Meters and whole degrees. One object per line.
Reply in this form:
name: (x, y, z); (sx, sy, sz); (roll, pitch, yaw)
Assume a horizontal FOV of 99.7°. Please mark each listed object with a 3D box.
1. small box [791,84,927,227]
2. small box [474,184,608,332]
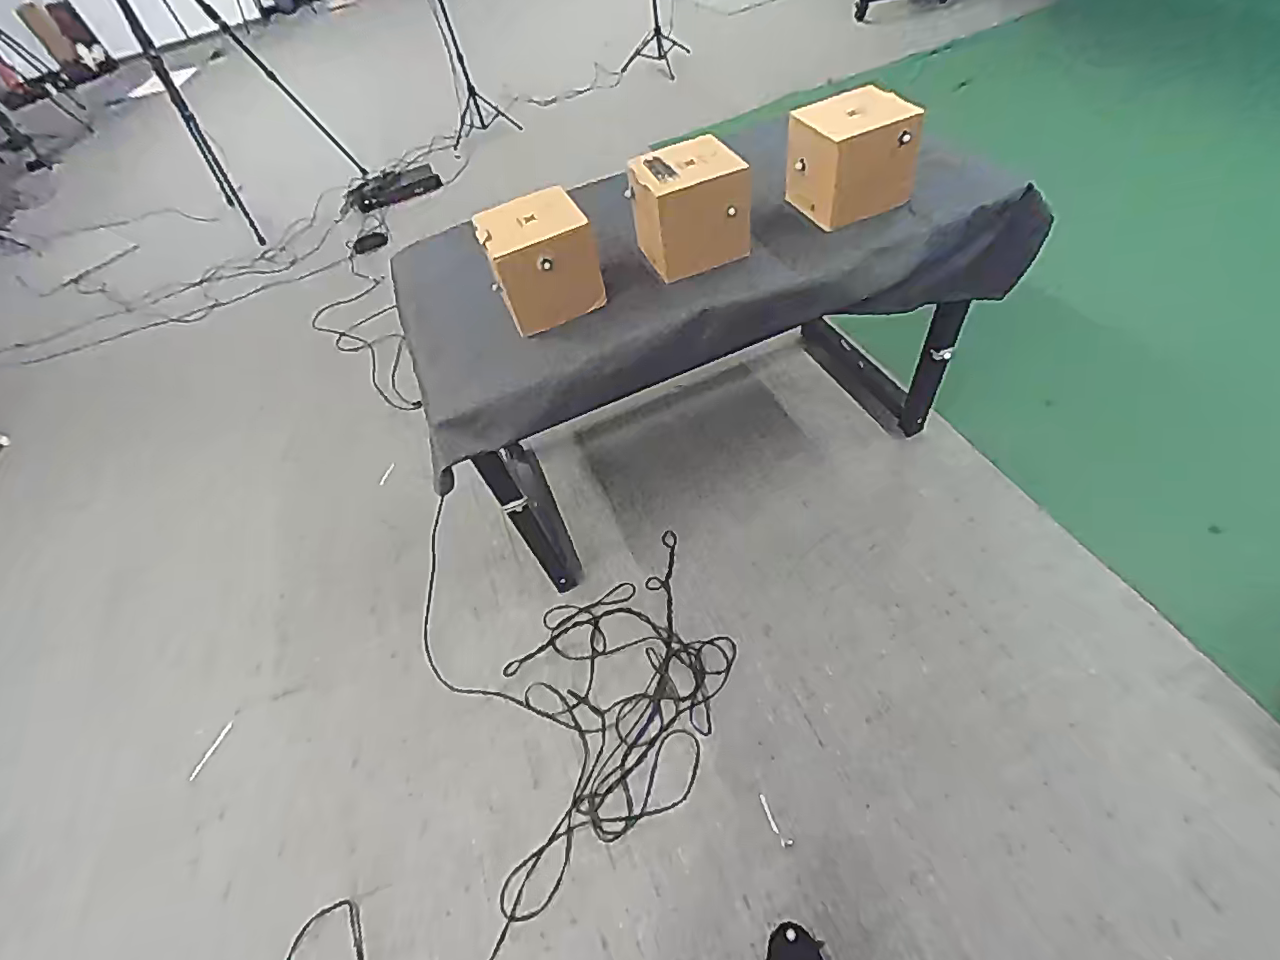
small box: (0.404, -0.615, 1.033); (0.179, 0.176, 0.168); (-21, 53, -5)
small box: (-0.177, -0.402, 0.993); (0.179, 0.176, 0.168); (-24, 54, -8)
